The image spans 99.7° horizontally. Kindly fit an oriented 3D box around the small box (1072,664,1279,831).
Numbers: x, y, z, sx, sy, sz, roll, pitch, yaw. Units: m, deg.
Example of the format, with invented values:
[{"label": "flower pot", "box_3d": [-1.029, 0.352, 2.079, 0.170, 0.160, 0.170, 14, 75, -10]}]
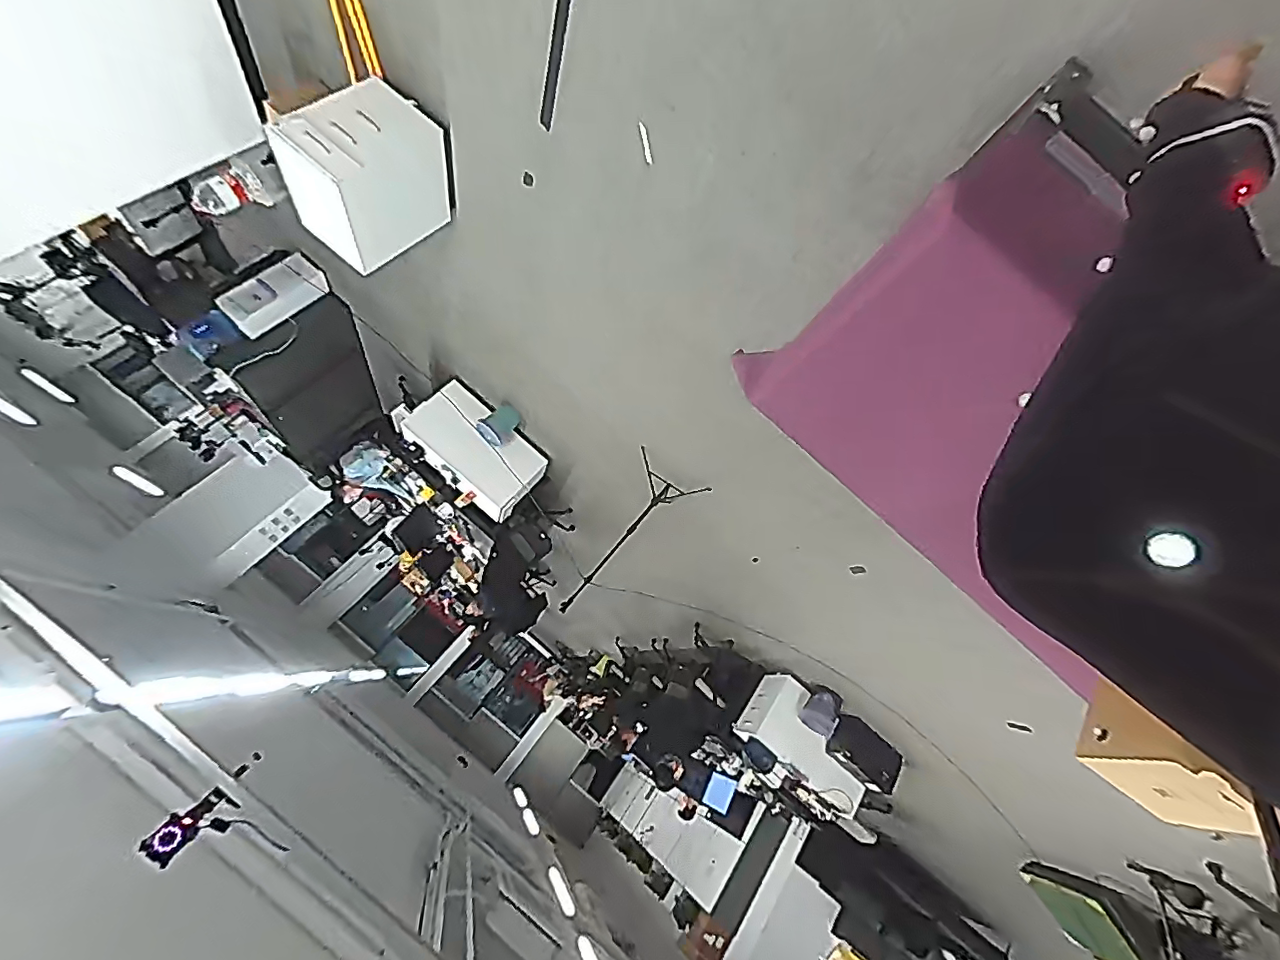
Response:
[{"label": "small box", "box_3d": [0.869, 0.425, 0.880, 0.168, 0.176, 0.179, 36, 154, 9]}]
